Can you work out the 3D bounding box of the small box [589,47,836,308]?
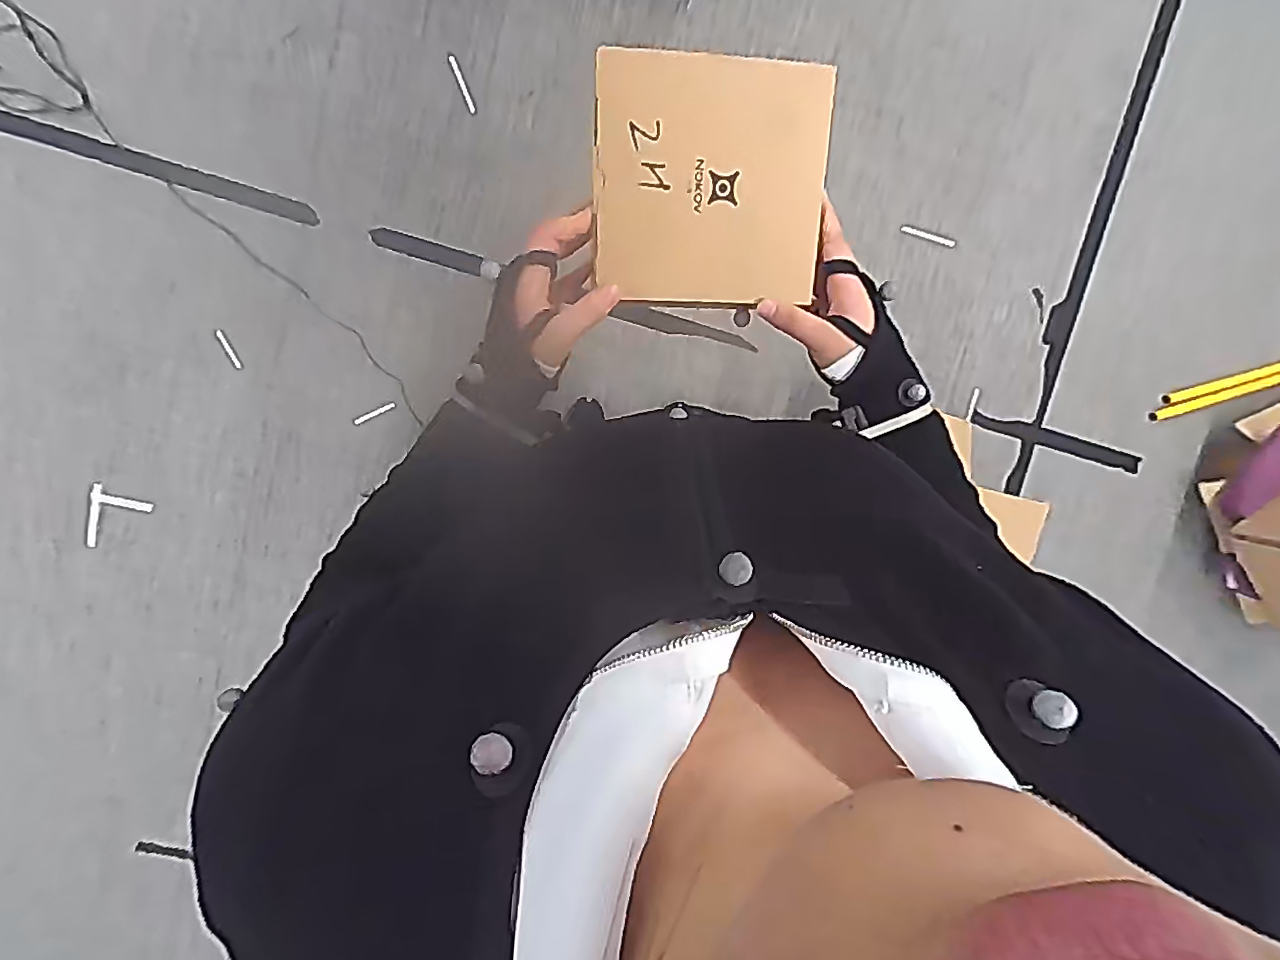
[{"bbox_3d":[0.045,-0.242,0.479,0.179,0.176,0.168,0,106,-6],"label":"small box"}]
